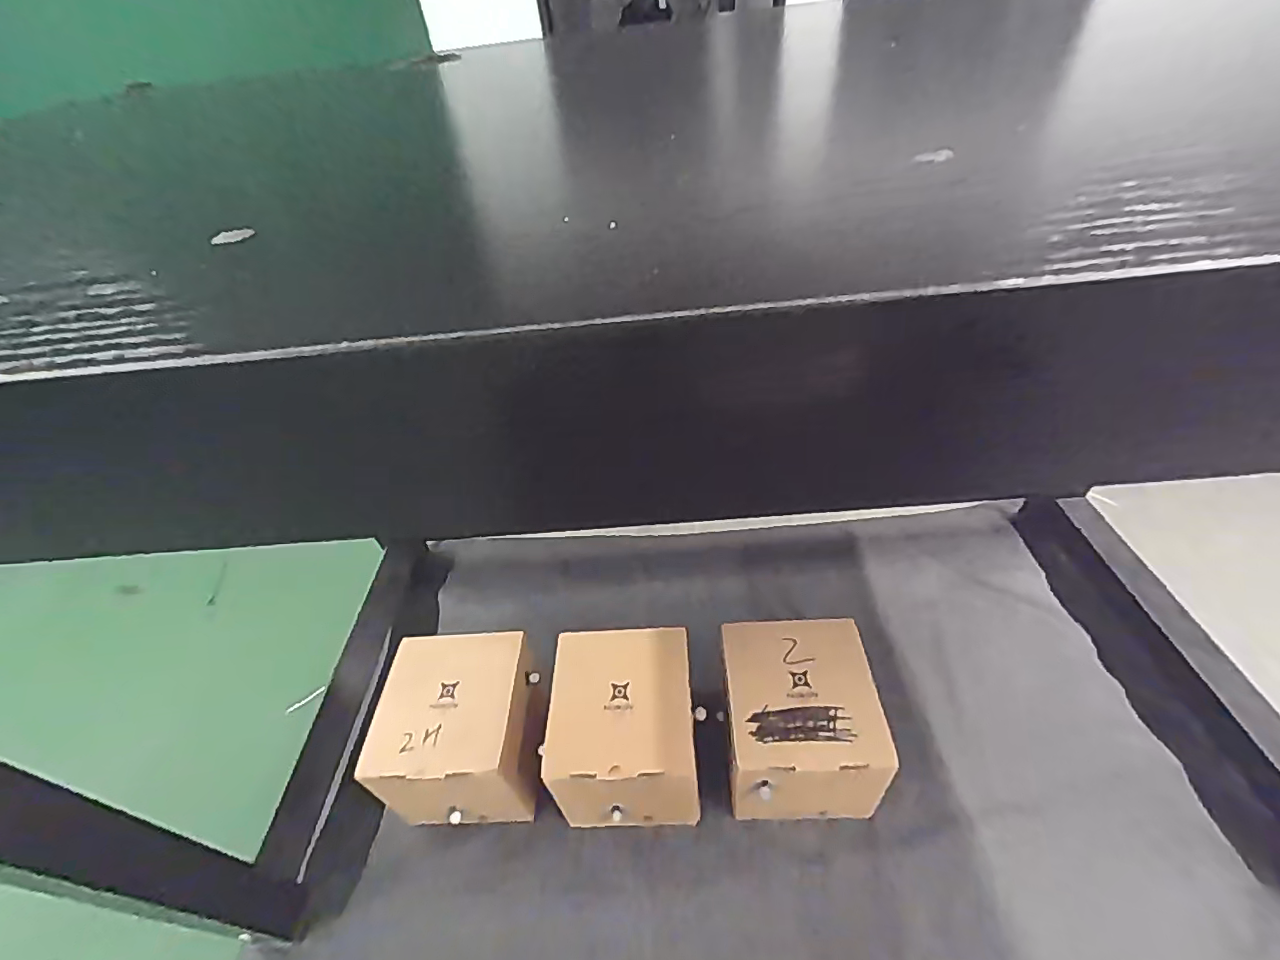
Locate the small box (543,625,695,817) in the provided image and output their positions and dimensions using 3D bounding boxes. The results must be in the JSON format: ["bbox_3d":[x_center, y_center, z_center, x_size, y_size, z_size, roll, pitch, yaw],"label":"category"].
[{"bbox_3d":[-0.017,0.306,0.690,0.168,0.176,0.179,-3,44,4],"label":"small box"}]

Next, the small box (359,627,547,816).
[{"bbox_3d":[-0.224,0.314,0.706,0.168,0.176,0.179,-4,43,4],"label":"small box"}]
